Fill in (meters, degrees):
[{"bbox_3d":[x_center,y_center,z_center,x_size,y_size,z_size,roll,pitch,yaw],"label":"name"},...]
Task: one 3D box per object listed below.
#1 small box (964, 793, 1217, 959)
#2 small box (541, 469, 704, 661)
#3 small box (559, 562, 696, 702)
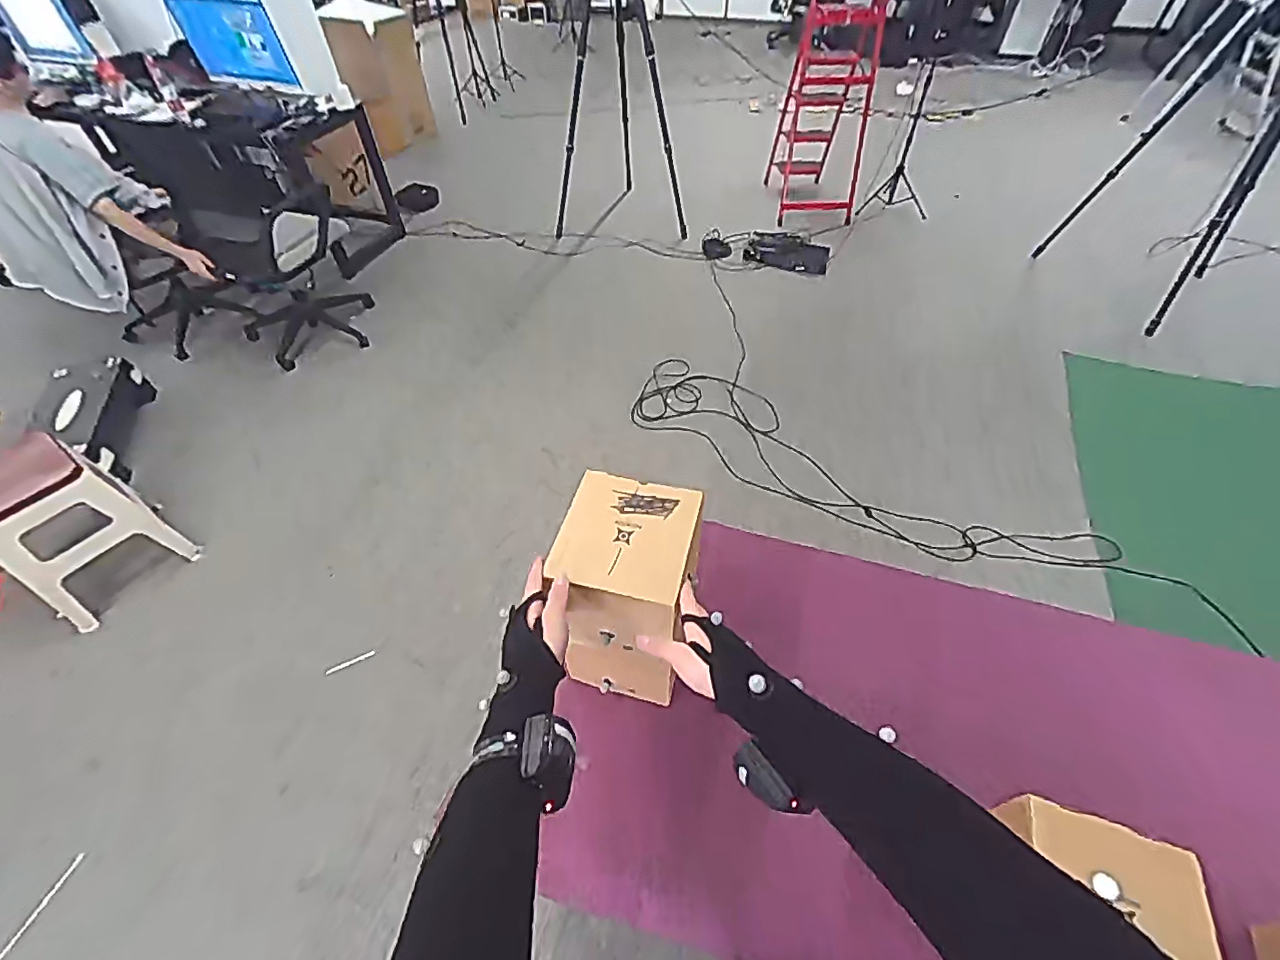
[{"bbox_3d":[0.490,0.496,0.611,0.168,0.176,0.179,15,50,14],"label":"small box"},{"bbox_3d":[-0.016,0.116,0.733,0.168,0.176,0.179,11,52,12],"label":"small box"},{"bbox_3d":[-0.013,0.222,0.857,0.168,0.176,0.179,11,52,11],"label":"small box"}]
